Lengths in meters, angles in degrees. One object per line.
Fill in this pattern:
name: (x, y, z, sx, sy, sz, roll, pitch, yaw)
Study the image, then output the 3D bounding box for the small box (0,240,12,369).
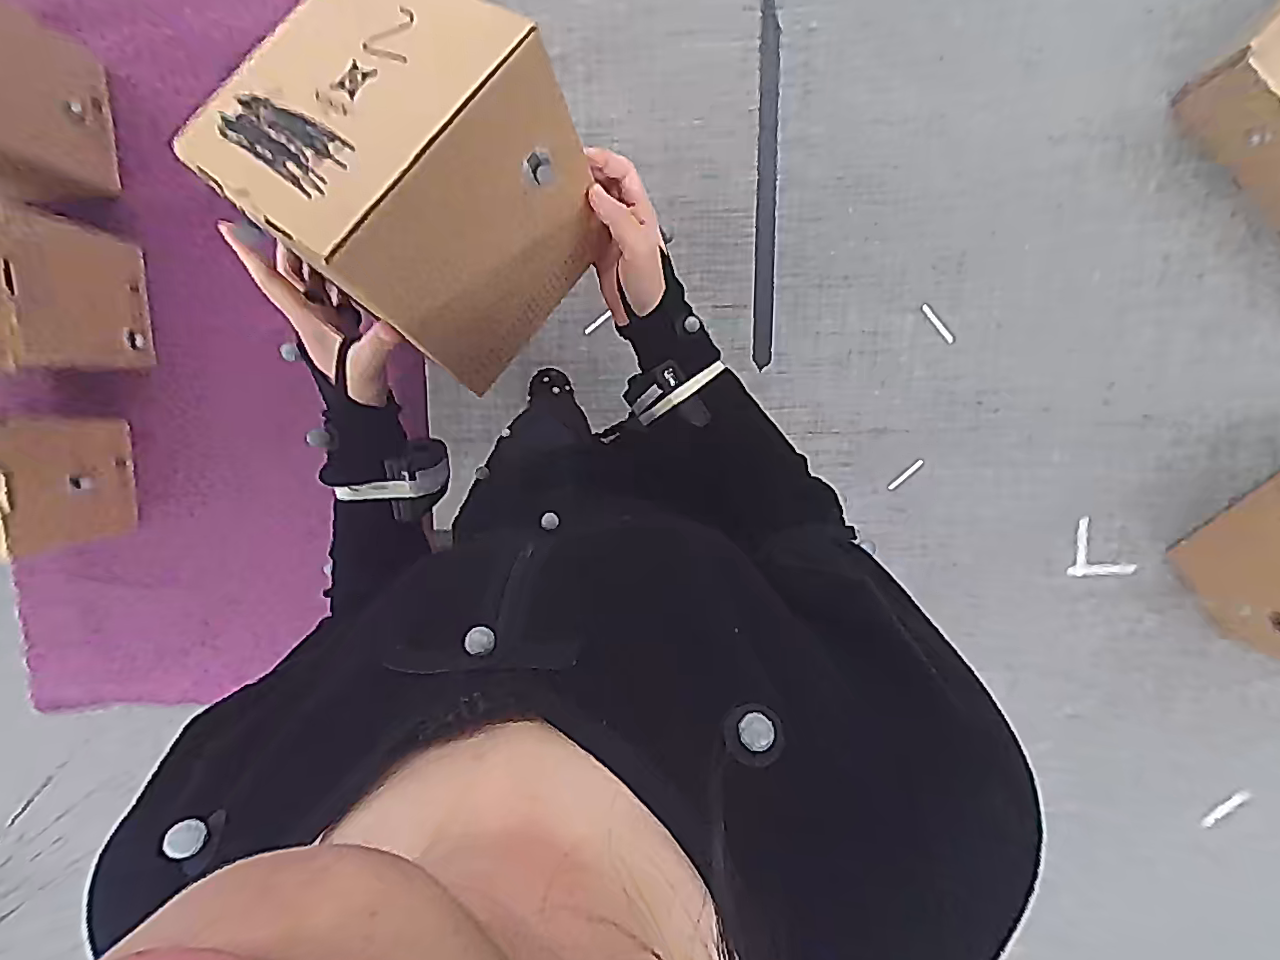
small box: (-0.785, -0.190, 0.518, 0.179, 0.176, 0.168, 1, 97, 1)

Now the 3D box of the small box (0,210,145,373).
small box: (-0.773, -0.225, 0.677, 0.179, 0.176, 0.168, -1, 97, 3)

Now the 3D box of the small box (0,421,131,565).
small box: (-0.820, 0.008, 0.707, 0.179, 0.176, 0.168, 1, 97, 1)

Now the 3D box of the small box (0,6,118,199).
small box: (-0.797, -0.454, 0.649, 0.179, 0.176, 0.168, -1, 98, 2)
